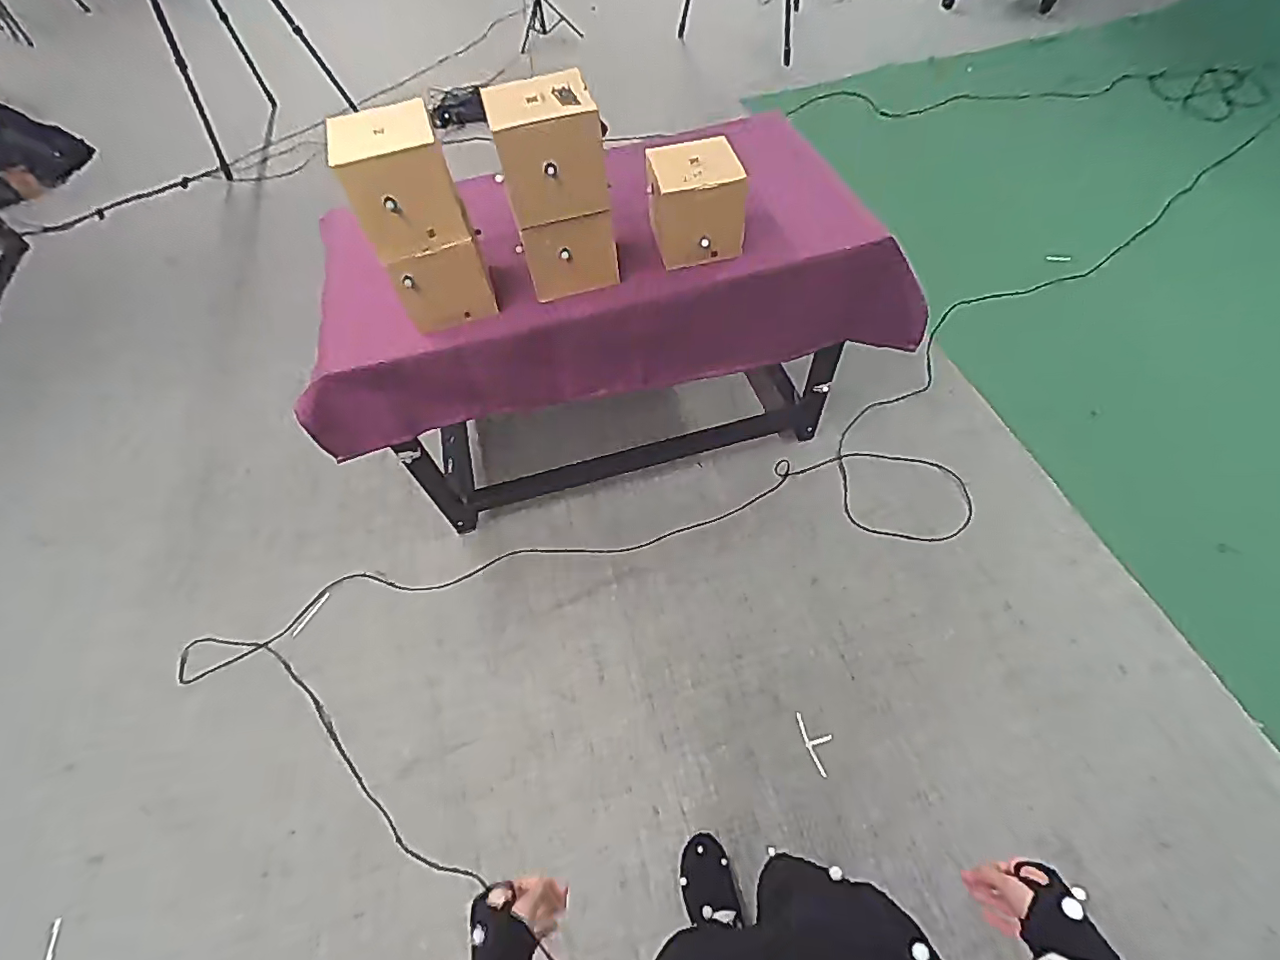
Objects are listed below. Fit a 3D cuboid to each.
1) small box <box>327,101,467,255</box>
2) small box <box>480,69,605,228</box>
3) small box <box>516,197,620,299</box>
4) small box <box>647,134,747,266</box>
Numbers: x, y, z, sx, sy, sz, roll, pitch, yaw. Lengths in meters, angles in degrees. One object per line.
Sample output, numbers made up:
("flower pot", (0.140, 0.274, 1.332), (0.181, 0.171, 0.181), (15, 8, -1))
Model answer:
("small box", (-0.417, -0.517, 0.944), (0.168, 0.176, 0.179), (-19, 56, -6))
("small box", (-0.165, -0.580, 0.955), (0.179, 0.176, 0.168), (-16, 57, -4))
("small box", (-0.152, -0.496, 1.096), (0.179, 0.176, 0.168), (-17, 58, -5))
("small box", (0.113, -0.574, 1.116), (0.168, 0.176, 0.179), (-12, 57, -1))
